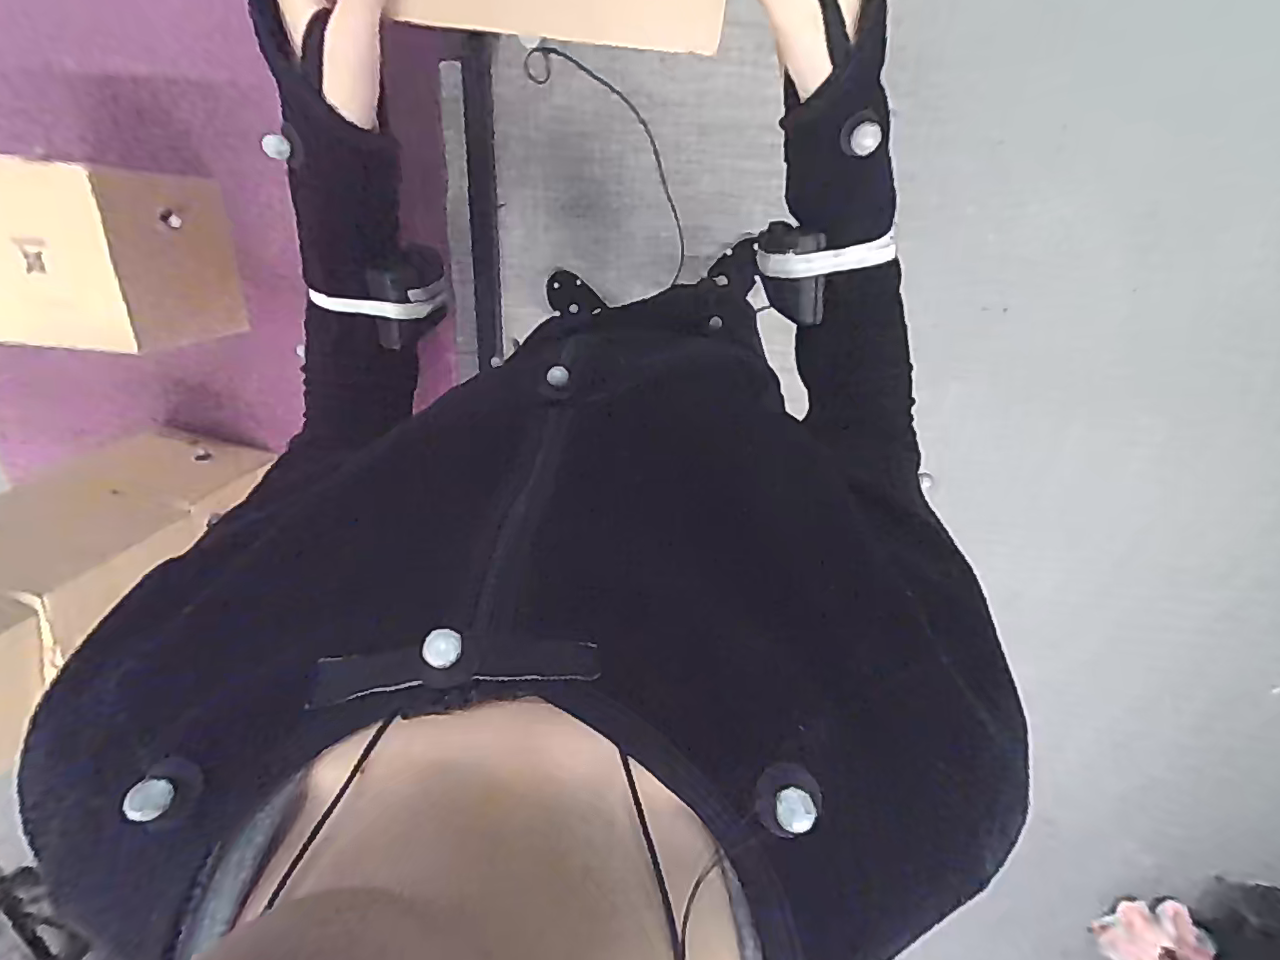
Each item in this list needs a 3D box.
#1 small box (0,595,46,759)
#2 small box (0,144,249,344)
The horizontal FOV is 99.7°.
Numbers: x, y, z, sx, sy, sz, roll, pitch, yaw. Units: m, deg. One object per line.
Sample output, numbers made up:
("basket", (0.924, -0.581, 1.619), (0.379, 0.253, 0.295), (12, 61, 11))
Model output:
("small box", (-0.654, 0.180, 0.442), (0.168, 0.176, 0.179), (21, 112, -5))
("small box", (-0.590, -0.262, 0.610), (0.168, 0.176, 0.179), (6, 113, 1))
